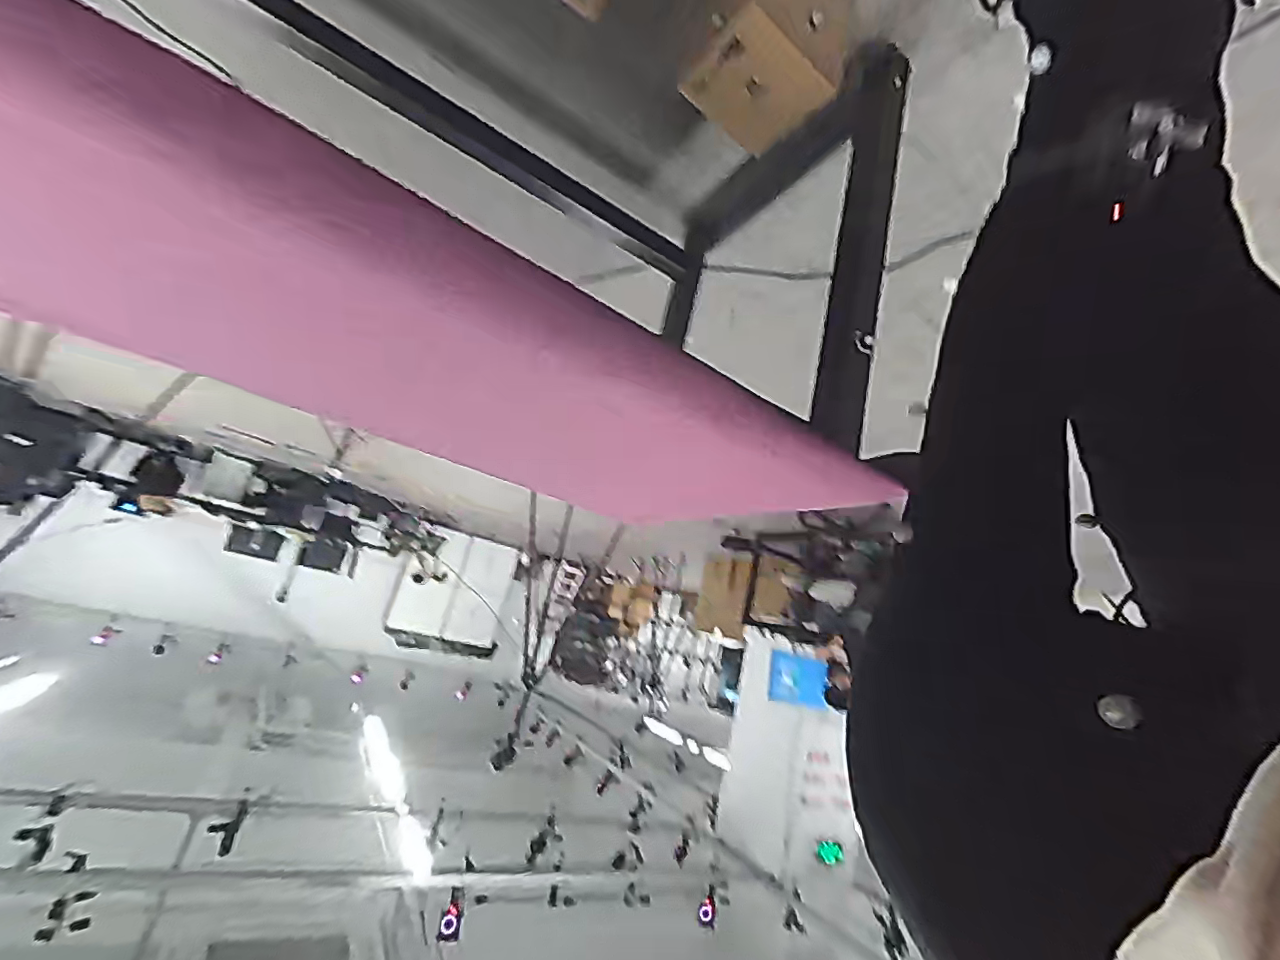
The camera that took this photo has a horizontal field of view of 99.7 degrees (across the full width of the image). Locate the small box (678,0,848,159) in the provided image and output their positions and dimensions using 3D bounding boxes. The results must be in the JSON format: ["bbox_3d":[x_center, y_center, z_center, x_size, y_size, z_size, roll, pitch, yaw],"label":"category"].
[{"bbox_3d":[0.187,-0.642,0.809,0.179,0.176,0.168,23,162,-29],"label":"small box"}]
